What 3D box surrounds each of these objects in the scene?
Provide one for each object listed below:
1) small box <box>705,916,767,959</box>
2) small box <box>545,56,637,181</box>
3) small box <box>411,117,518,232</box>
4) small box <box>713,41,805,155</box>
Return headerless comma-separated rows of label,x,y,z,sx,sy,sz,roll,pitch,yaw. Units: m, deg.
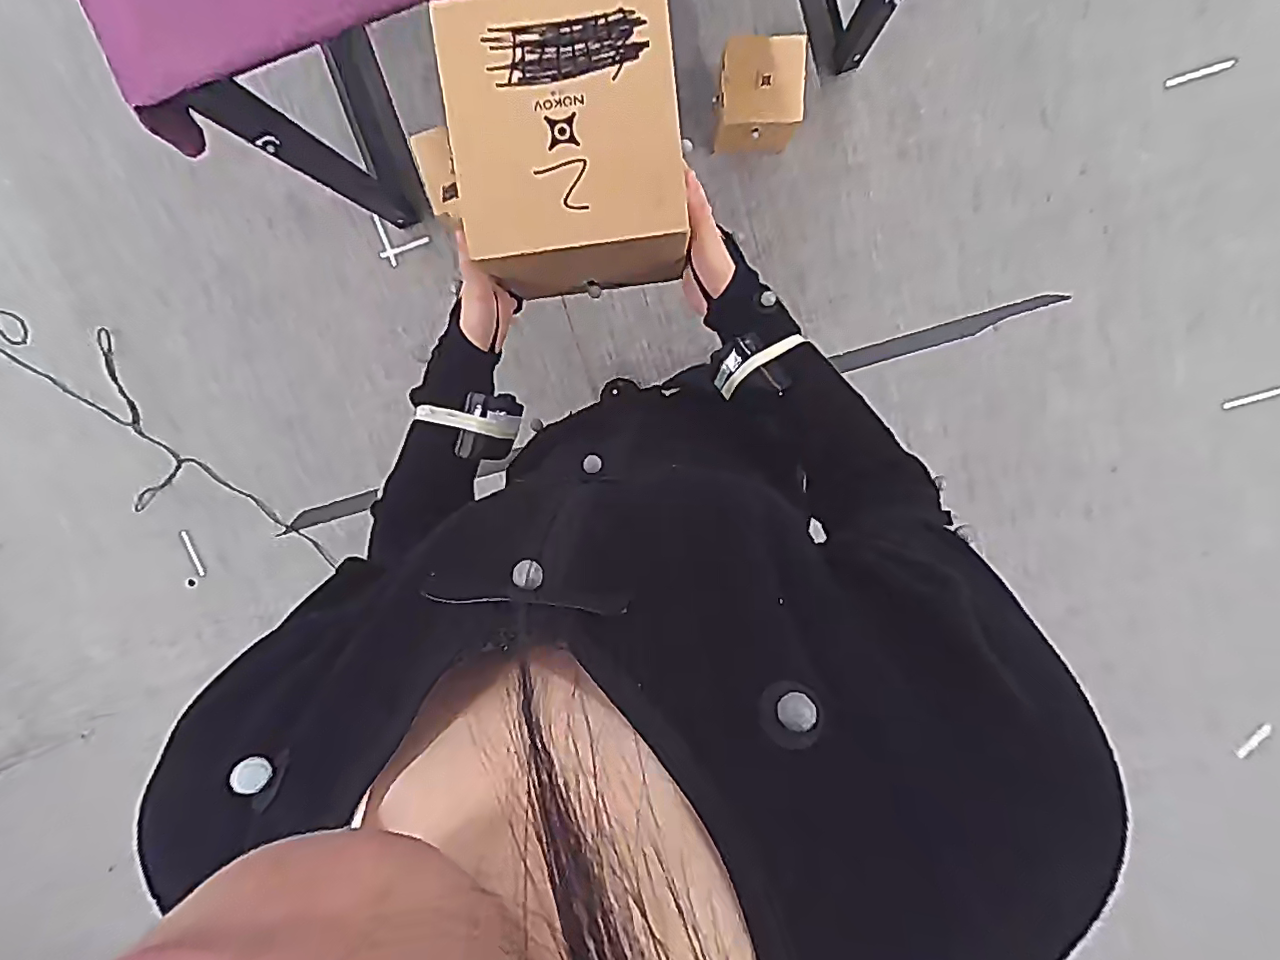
small box,0.312,1.533,1.700,0.168,0.176,0.179,-18,101,5
small box,-0.105,-0.824,1.257,0.168,0.176,0.179,-15,99,4
small box,-0.407,-0.711,1.286,0.168,0.176,0.179,-16,99,4
small box,0.266,-0.865,1.238,0.179,0.176,0.168,0,102,3
